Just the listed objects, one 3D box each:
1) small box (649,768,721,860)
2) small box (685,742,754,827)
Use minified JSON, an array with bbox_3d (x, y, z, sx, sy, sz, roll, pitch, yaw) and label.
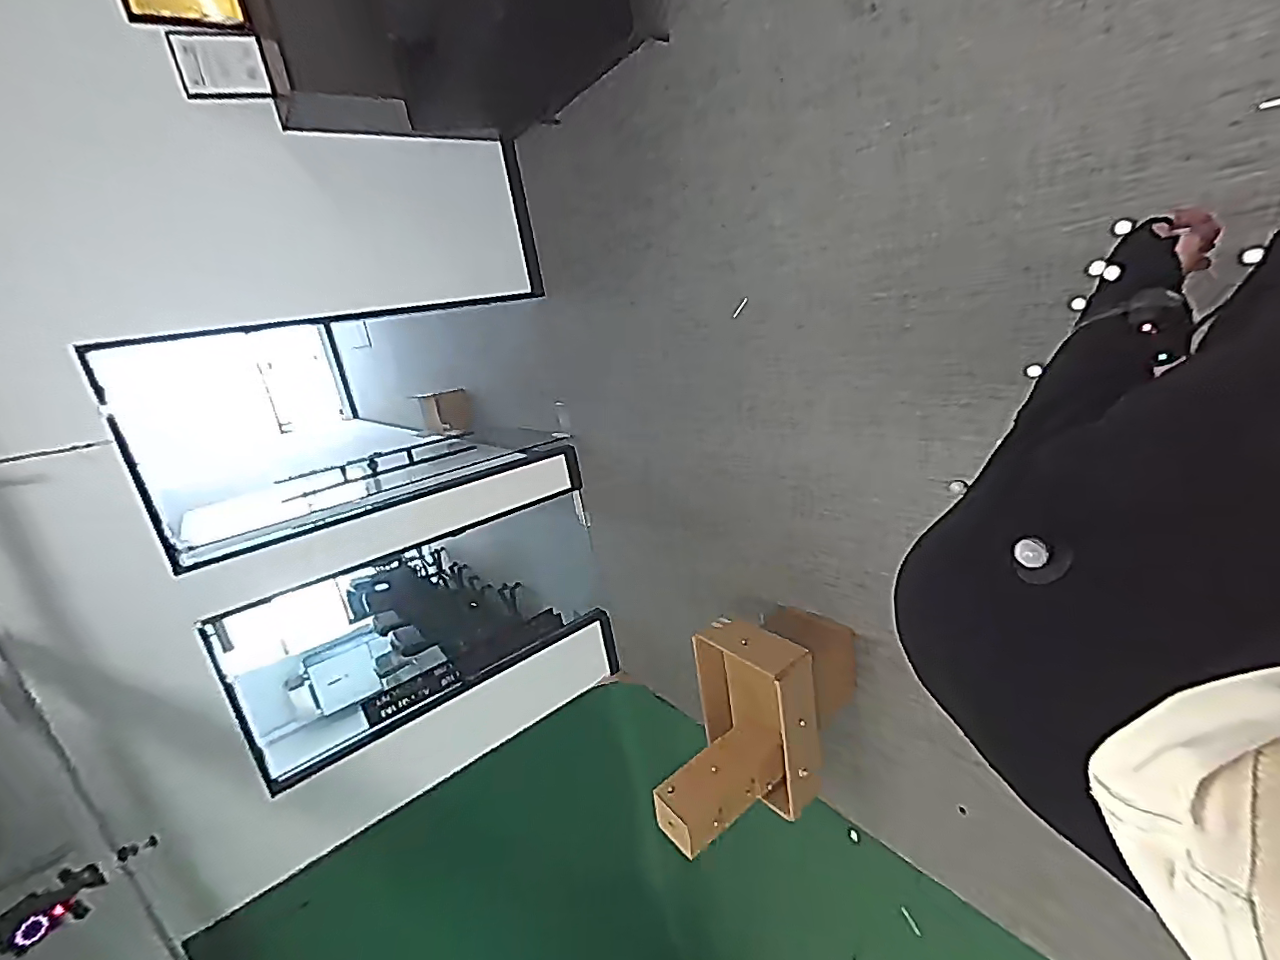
[{"bbox_3d":[0.154,1.121,1.835,0.179,0.176,0.168,19,123,49],"label":"small box"},{"bbox_3d":[0.283,1.072,1.925,0.179,0.176,0.168,16,120,51],"label":"small box"}]
